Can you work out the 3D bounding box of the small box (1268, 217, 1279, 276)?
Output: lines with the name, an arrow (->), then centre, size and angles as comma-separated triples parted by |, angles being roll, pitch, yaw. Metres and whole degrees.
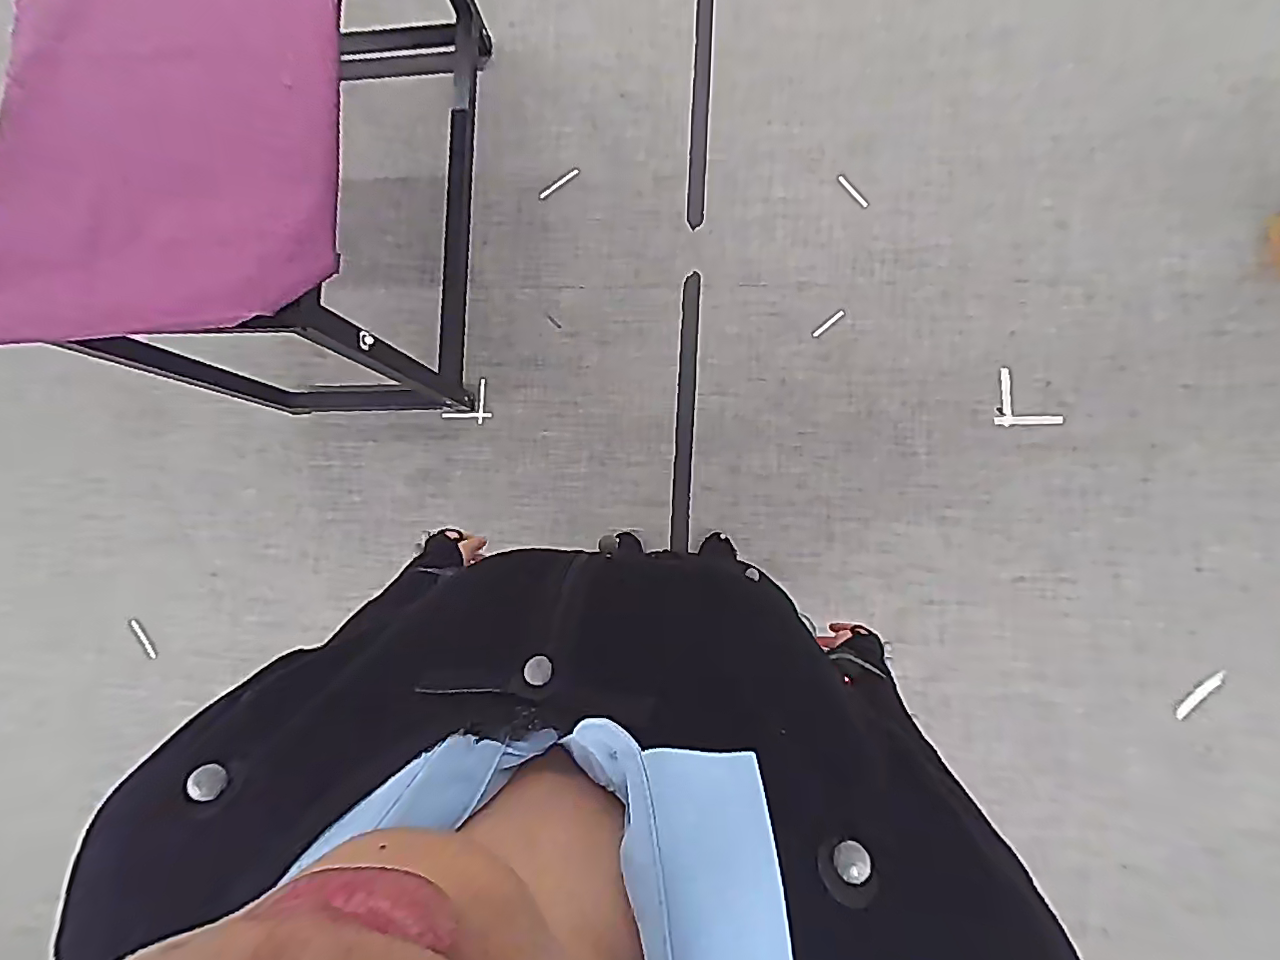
small box -> 1.749, -0.622, 1.341 | 0.179, 0.176, 0.168 | -4, 84, 5
